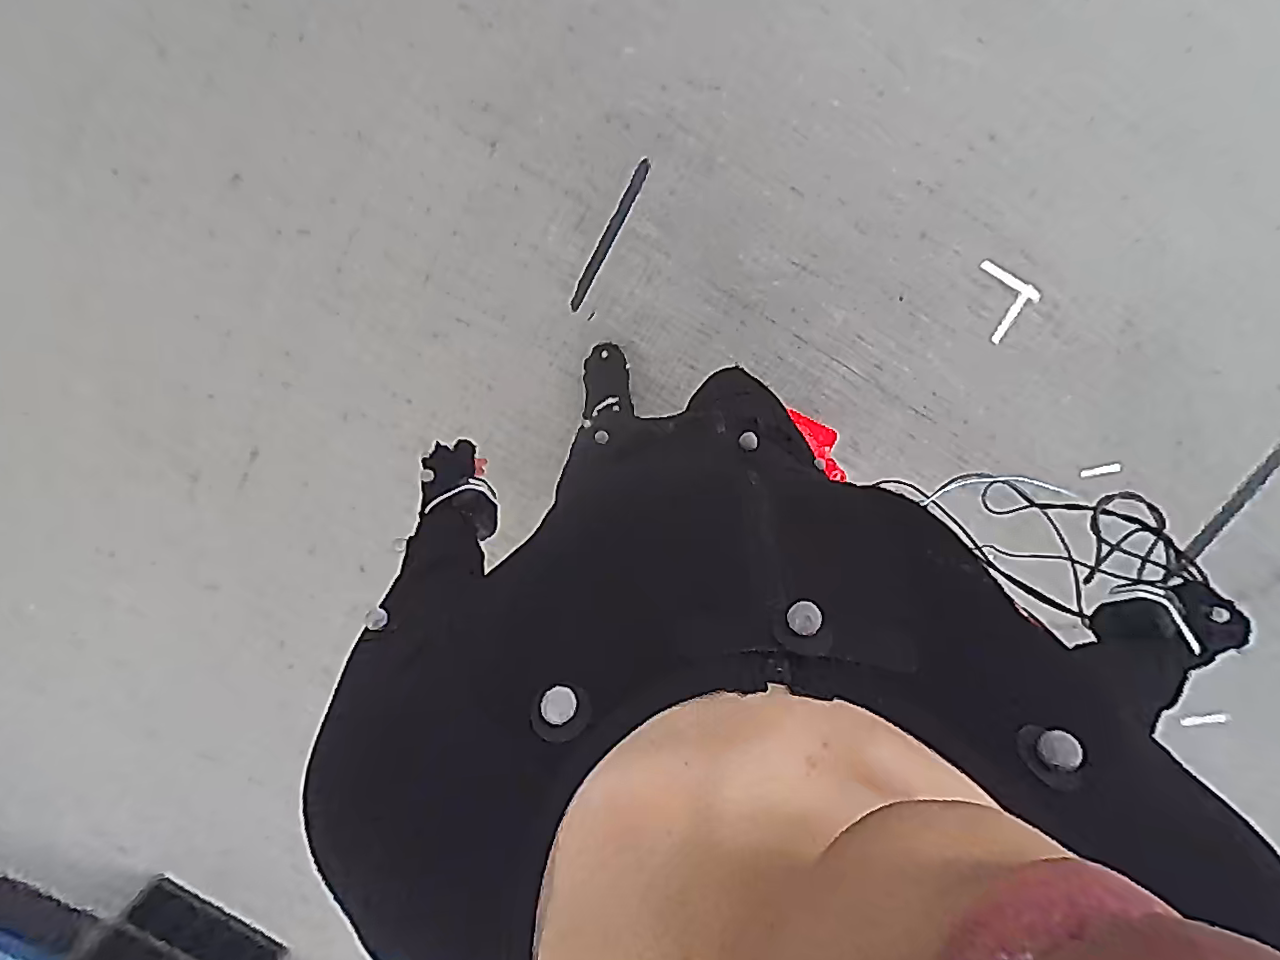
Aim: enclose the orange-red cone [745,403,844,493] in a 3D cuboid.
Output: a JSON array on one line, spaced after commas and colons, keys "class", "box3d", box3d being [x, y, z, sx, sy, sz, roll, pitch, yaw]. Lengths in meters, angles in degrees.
[{"class": "orange-red cone", "box3d": [0.402, -0.043, 1.276, 0.198, 0.360, 0.199, 26, 103, -5]}]
